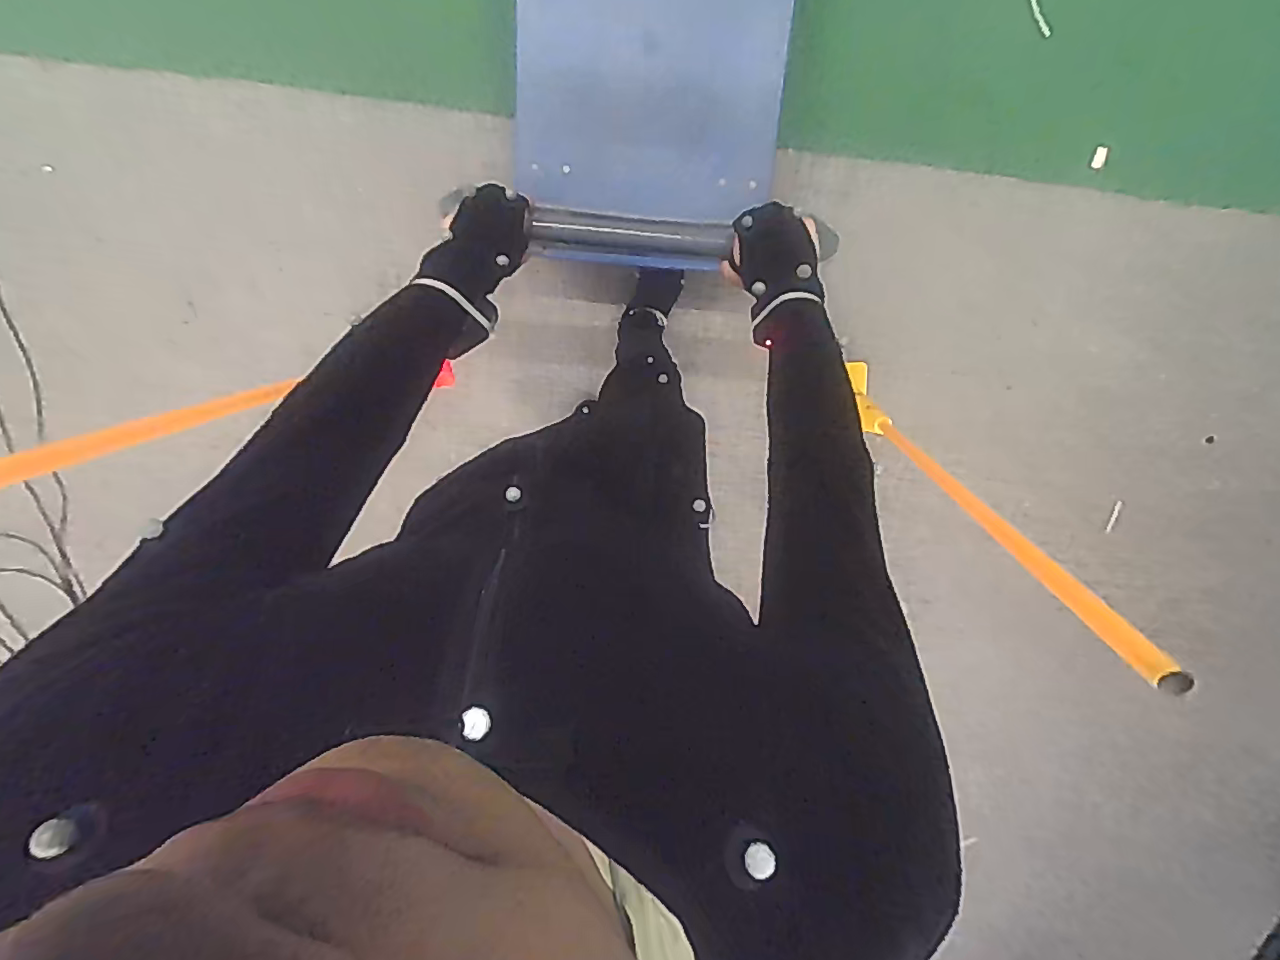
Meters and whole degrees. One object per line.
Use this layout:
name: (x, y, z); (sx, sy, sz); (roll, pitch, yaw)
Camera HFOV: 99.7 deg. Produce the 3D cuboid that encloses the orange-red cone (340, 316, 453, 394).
orange-red cone: (-0.630, -0.290, 1.330); (0.199, 0.360, 0.198); (-7, 108, 4)
